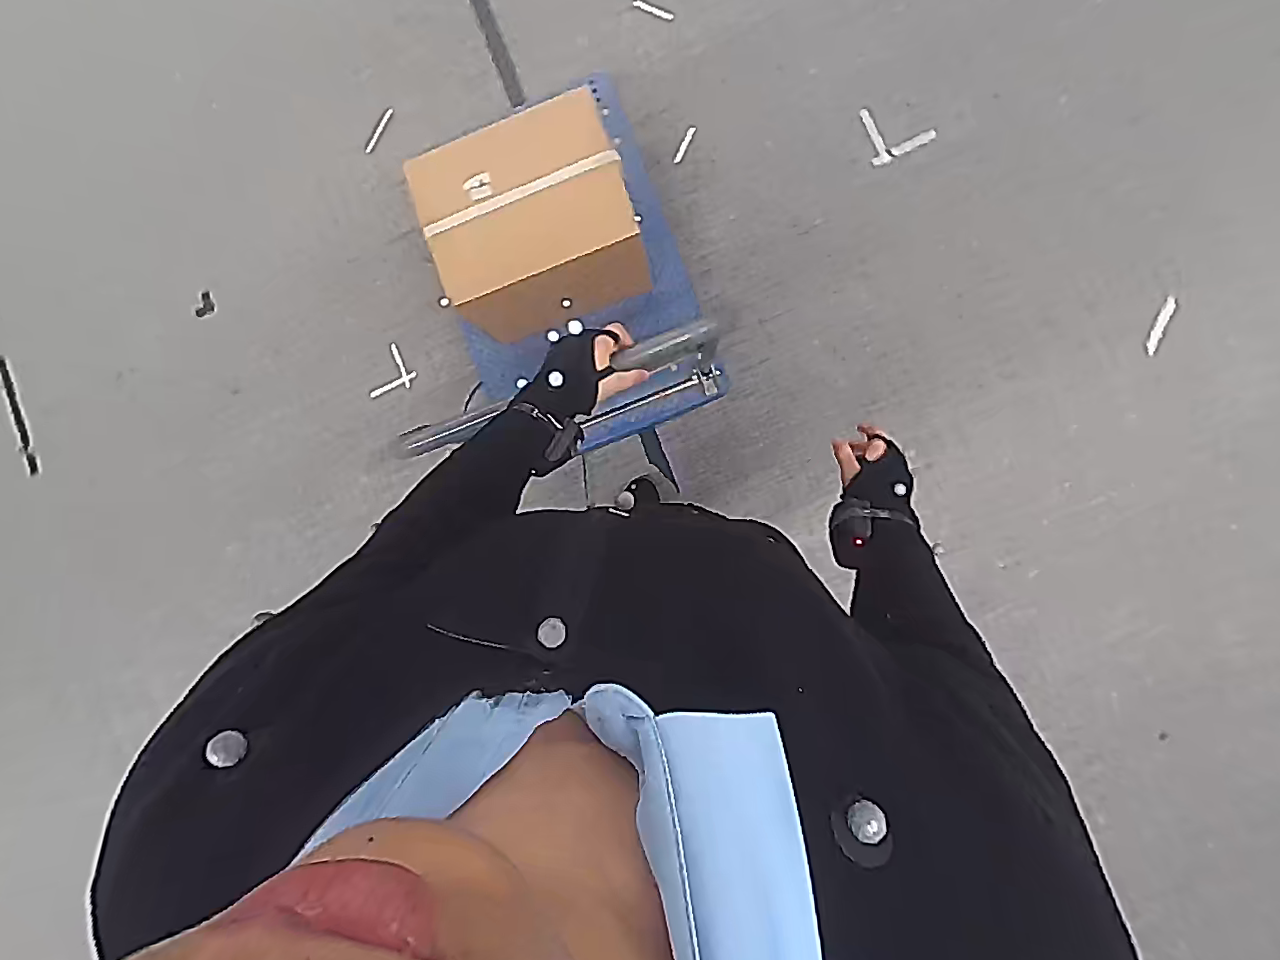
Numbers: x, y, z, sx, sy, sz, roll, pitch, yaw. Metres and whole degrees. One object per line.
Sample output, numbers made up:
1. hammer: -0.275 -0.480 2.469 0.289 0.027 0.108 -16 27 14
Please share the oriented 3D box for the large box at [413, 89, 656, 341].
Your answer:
1. large box: -0.209 -0.556 1.215 0.408 0.320 0.320 -19 87 6
